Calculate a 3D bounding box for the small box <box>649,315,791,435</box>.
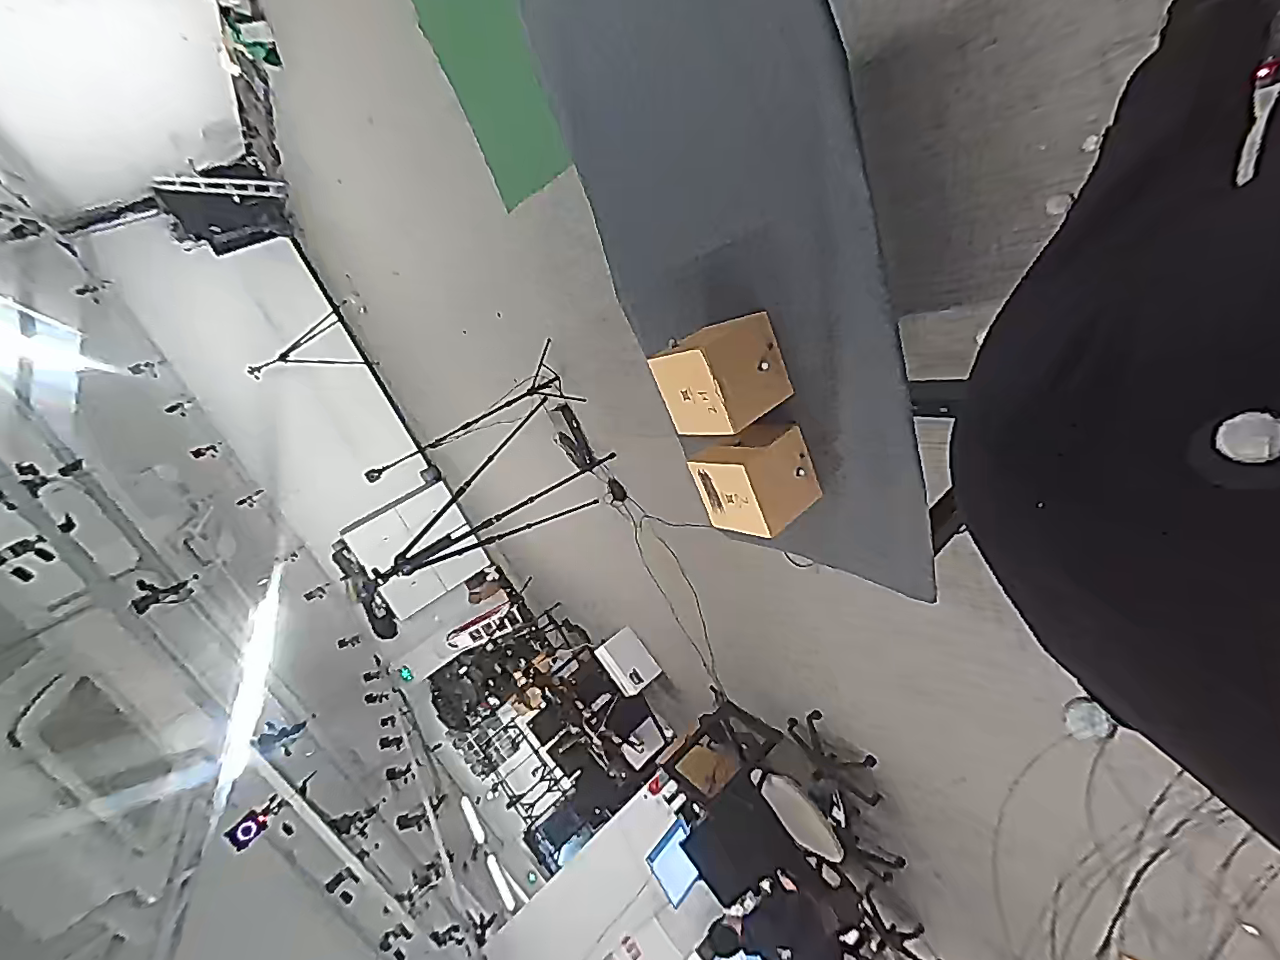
[{"bbox_3d":[0.153,-0.197,1.035,0.179,0.176,0.168,7,127,58],"label":"small box"}]
